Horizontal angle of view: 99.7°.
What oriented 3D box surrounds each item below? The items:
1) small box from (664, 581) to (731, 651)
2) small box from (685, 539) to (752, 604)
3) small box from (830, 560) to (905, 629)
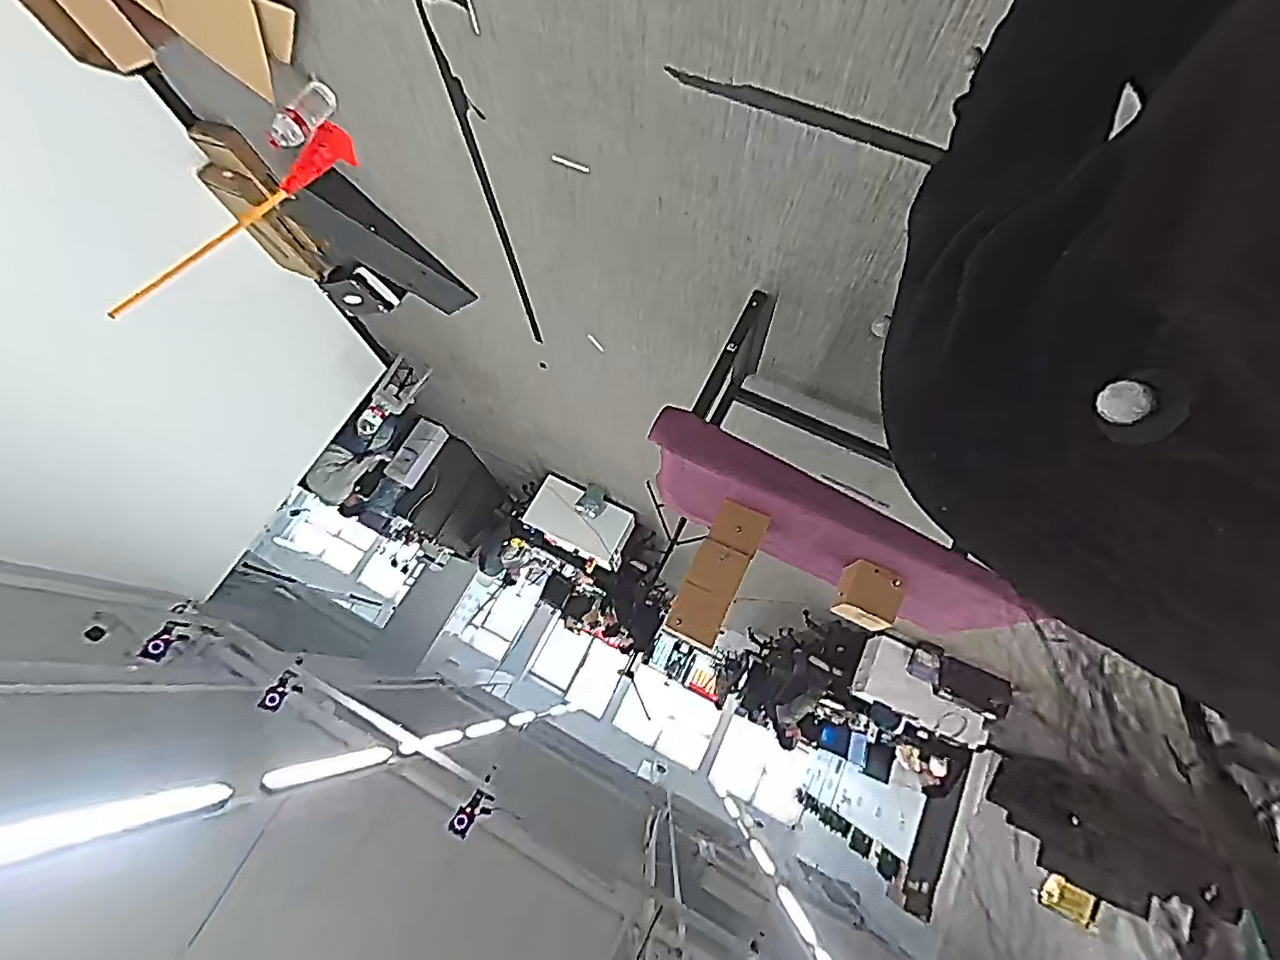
[{"bbox_3d":[0.198,0.460,1.835,0.179,0.176,0.168,23,162,14],"label":"small box"},{"bbox_3d":[0.270,0.320,1.876,0.179,0.176,0.168,24,162,15],"label":"small box"},{"bbox_3d":[0.778,0.387,1.843,0.168,0.176,0.179,25,163,11],"label":"small box"}]
